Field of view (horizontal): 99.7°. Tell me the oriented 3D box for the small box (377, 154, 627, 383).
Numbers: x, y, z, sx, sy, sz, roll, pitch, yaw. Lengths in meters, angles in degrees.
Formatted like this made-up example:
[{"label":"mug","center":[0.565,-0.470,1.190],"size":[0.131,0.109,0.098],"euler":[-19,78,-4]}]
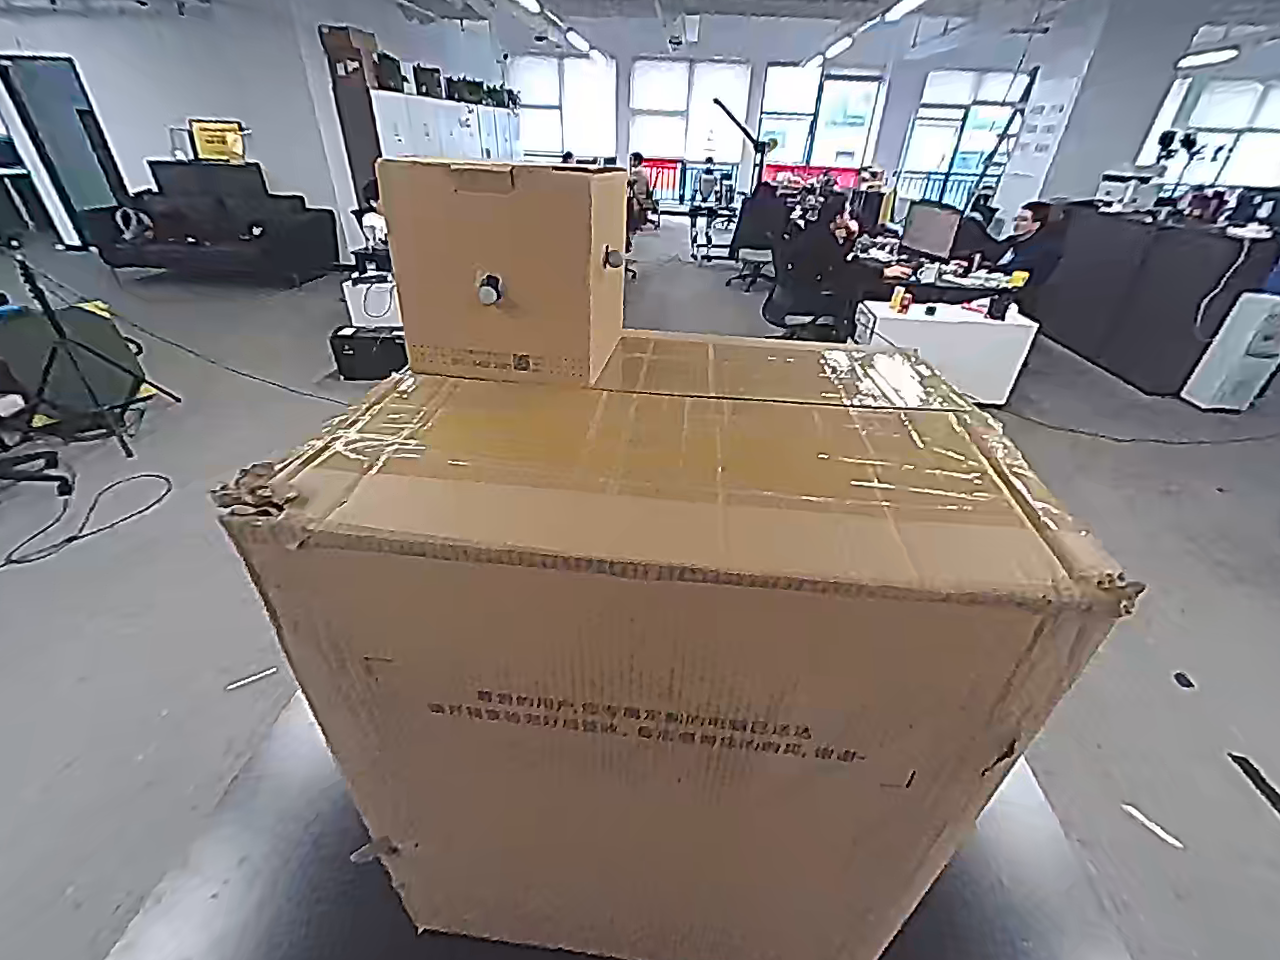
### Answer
[{"label":"small box","center":[-0.105,-0.199,0.500],"size":[0.168,0.176,0.179],"euler":[6,31,4]}]
